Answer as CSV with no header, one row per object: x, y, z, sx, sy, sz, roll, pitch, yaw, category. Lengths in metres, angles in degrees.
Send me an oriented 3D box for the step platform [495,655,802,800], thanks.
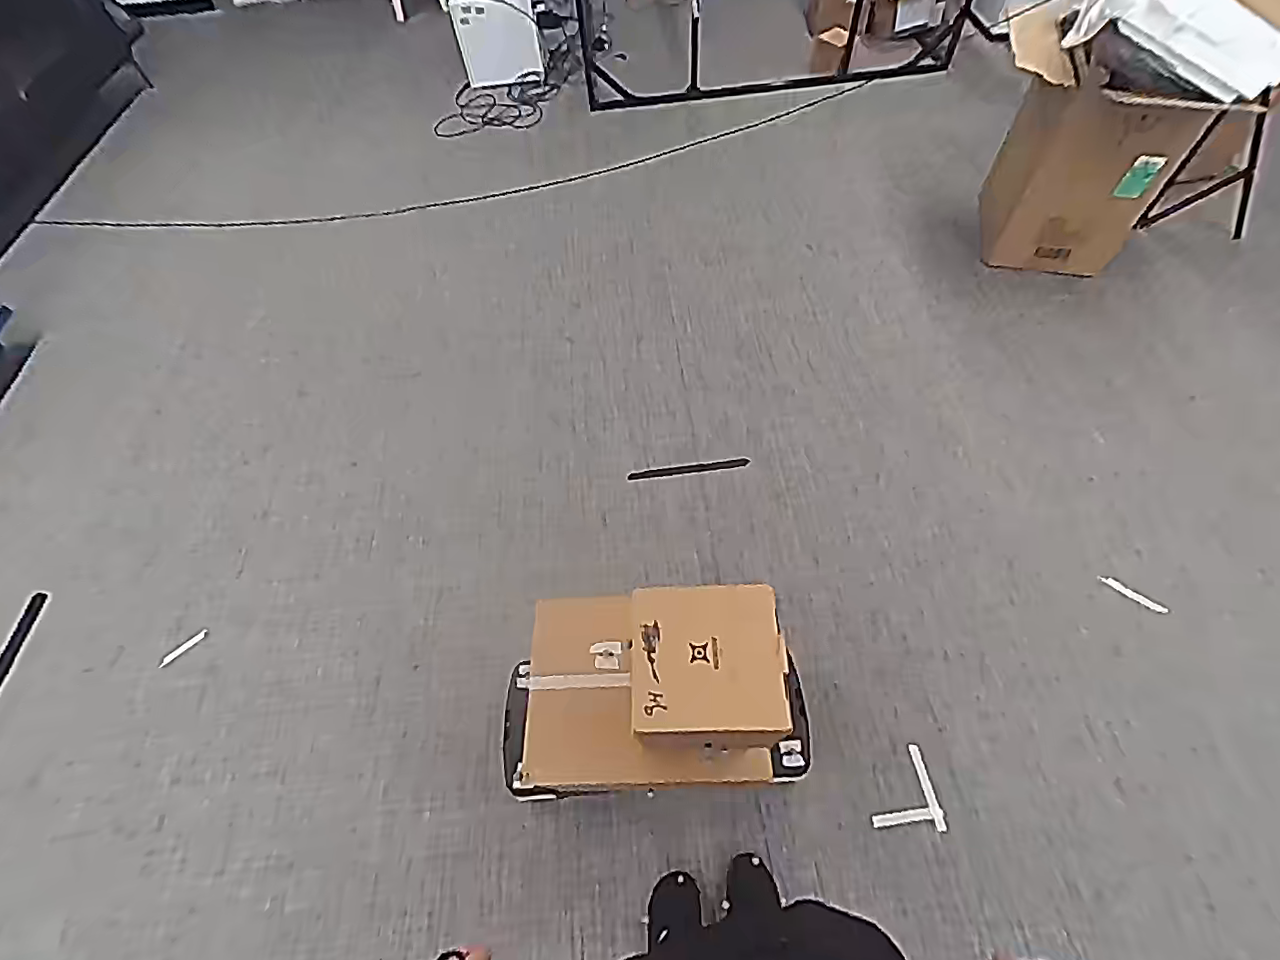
0.020,0.566,1.251,0.684,0.204,0.286,-1,58,5,step platform

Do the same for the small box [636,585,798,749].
0.086,0.241,0.685,0.179,0.176,0.168,-2,58,3,small box

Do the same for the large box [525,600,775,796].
0.023,0.429,1.055,0.408,0.320,0.320,-4,57,3,large box
